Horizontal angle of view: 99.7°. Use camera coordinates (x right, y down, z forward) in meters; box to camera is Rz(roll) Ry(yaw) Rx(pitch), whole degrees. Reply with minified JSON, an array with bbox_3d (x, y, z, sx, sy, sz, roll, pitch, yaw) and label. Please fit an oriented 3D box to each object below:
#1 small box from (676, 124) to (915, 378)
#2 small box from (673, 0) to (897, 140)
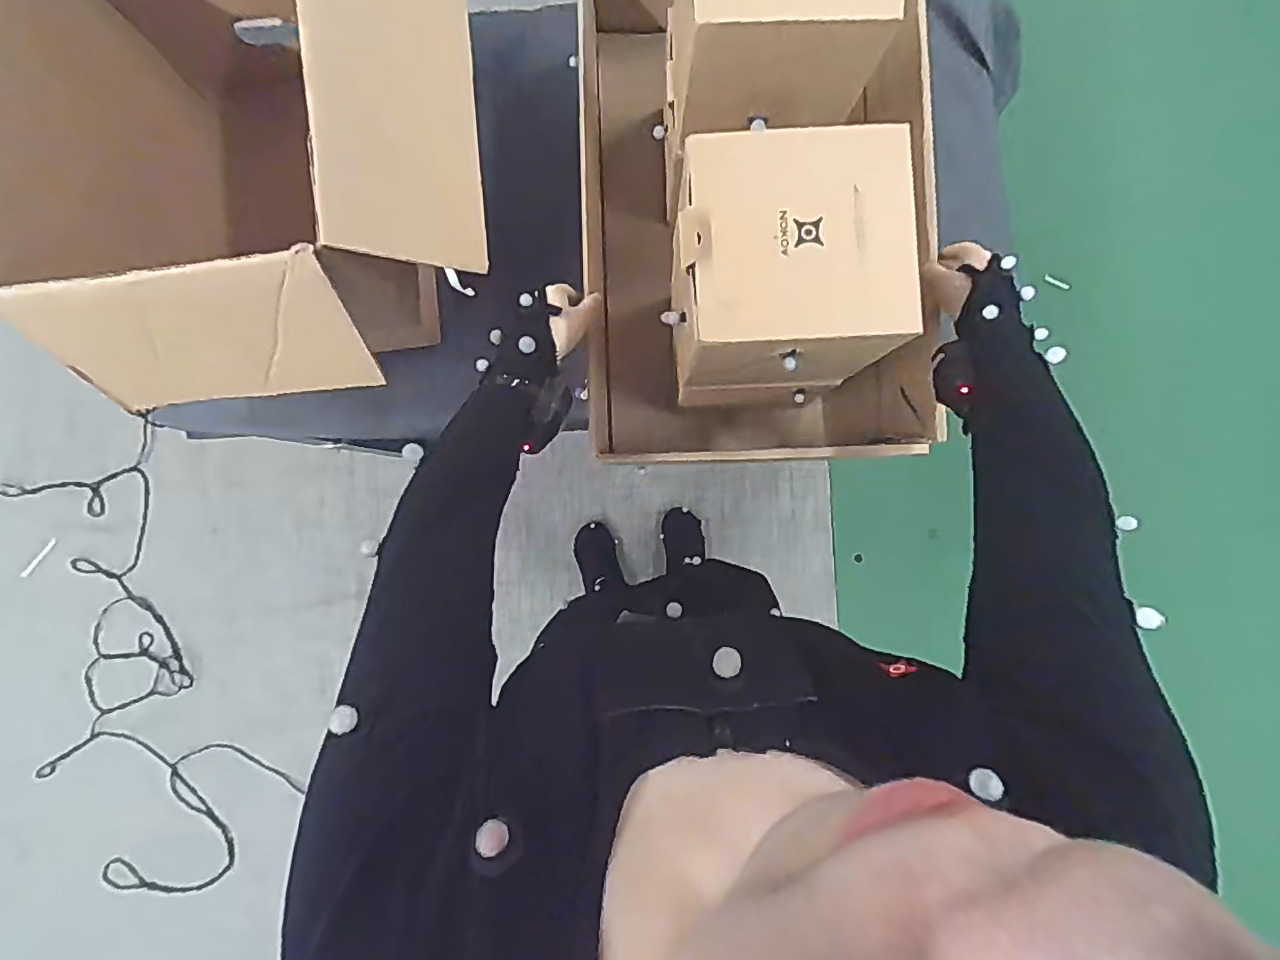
[{"bbox_3d":[0.126,-0.194,0.506,0.179,0.176,0.168,-4,90,-1],"label":"small box"},{"bbox_3d":[0.119,-0.448,0.504,0.168,0.176,0.179,-1,92,-1],"label":"small box"}]
